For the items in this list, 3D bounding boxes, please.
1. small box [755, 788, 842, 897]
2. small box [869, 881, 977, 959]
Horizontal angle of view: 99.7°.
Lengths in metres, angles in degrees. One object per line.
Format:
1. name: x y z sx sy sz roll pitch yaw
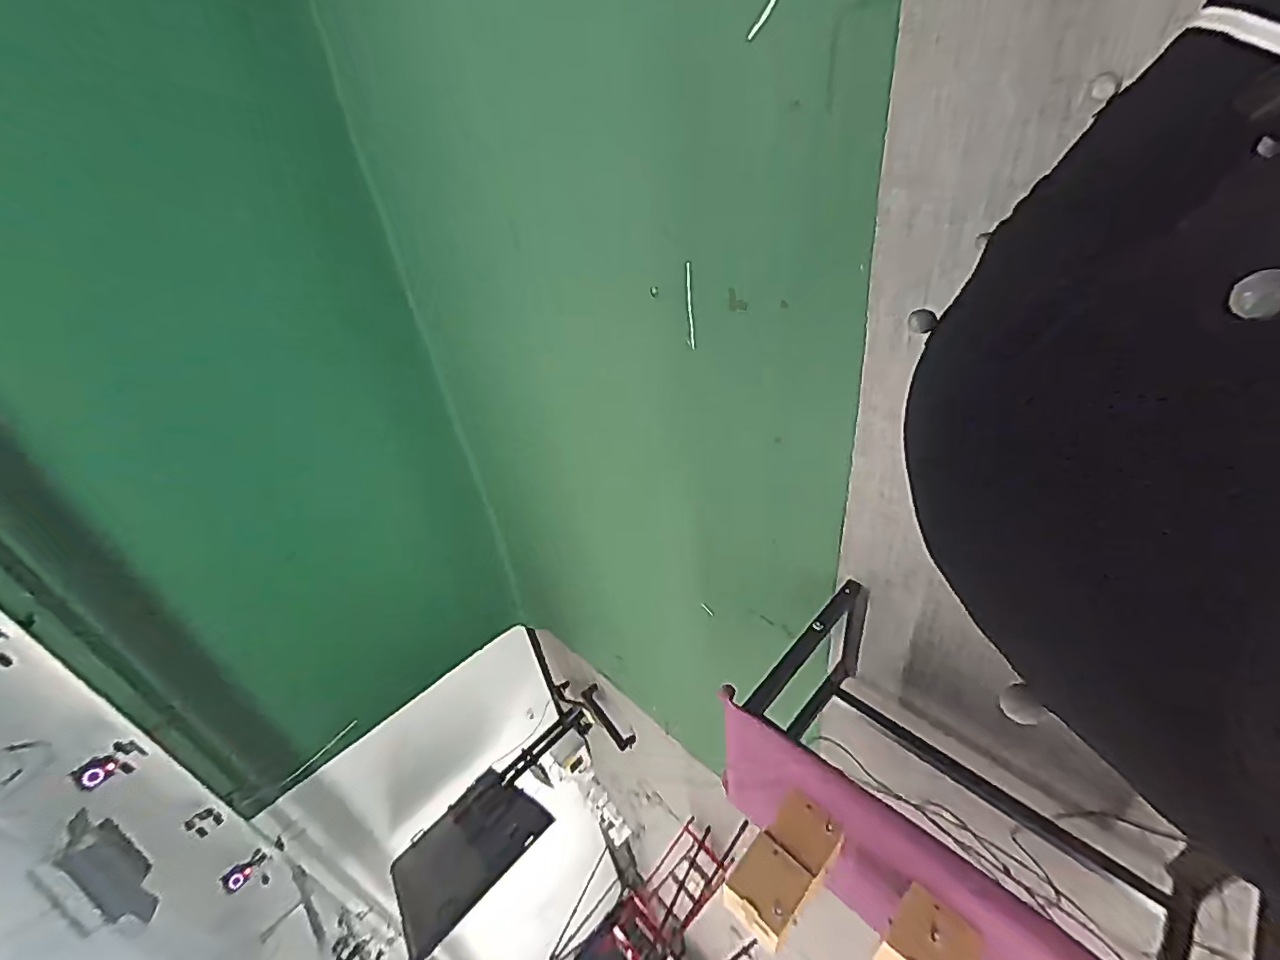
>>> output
1. small box: 0.452 1.024 1.538 0.168 0.176 0.179 31 140 36
2. small box: 0.694 1.135 1.323 0.168 0.176 0.179 29 139 36
